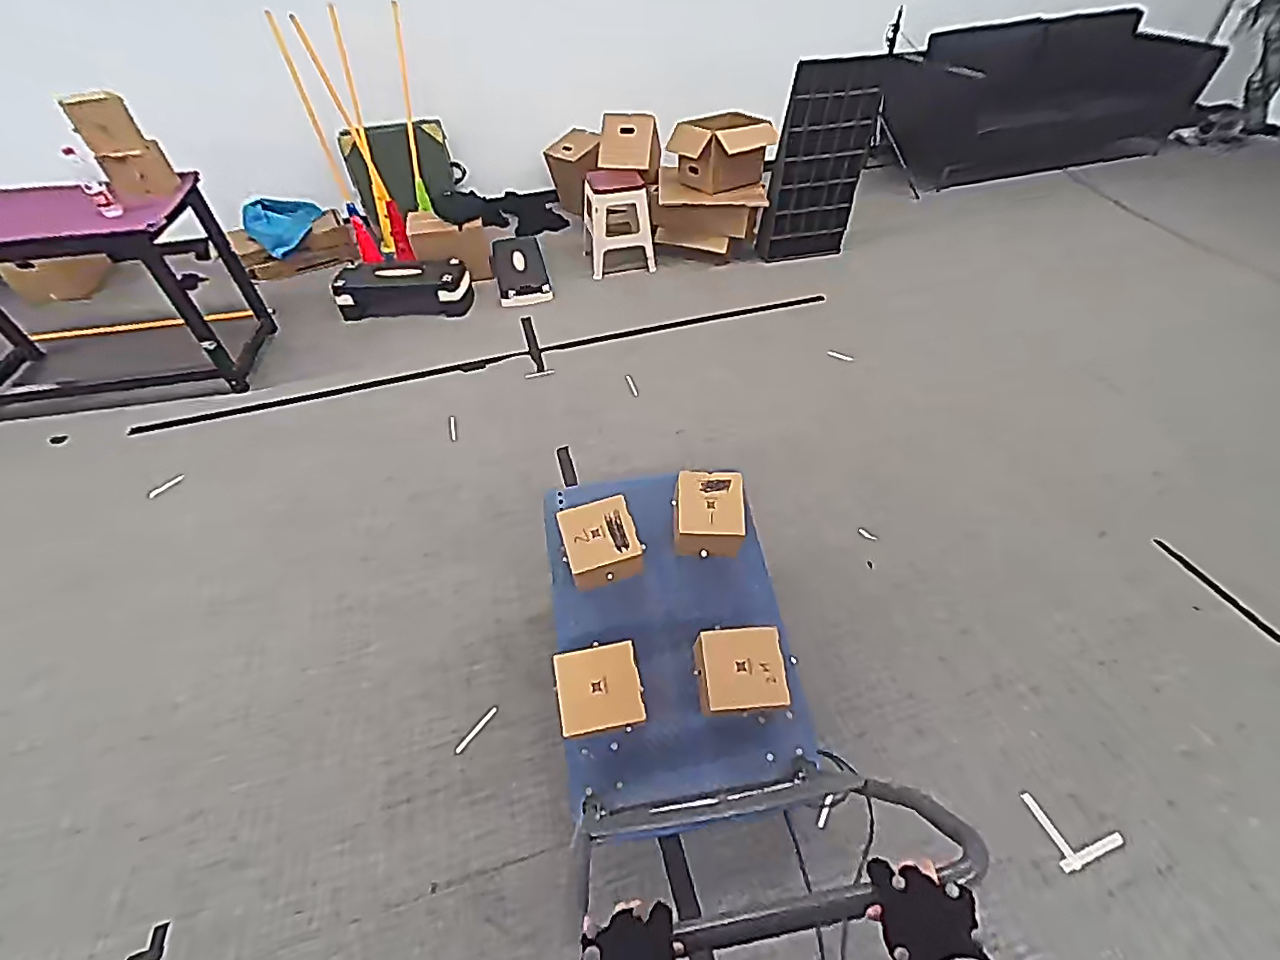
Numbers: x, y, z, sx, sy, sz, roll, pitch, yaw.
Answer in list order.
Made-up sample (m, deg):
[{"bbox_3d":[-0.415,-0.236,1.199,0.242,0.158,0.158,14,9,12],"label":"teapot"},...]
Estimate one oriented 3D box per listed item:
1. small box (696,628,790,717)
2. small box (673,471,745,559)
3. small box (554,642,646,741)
[{"bbox_3d":[0.226,0.444,1.240,0.179,0.176,0.168,-3,63,-3],"label":"small box"},{"bbox_3d":[0.176,0.094,1.421,0.168,0.176,0.179,2,63,-1],"label":"small box"},{"bbox_3d":[-0.089,0.479,1.214,0.179,0.176,0.168,-10,63,-8],"label":"small box"}]
